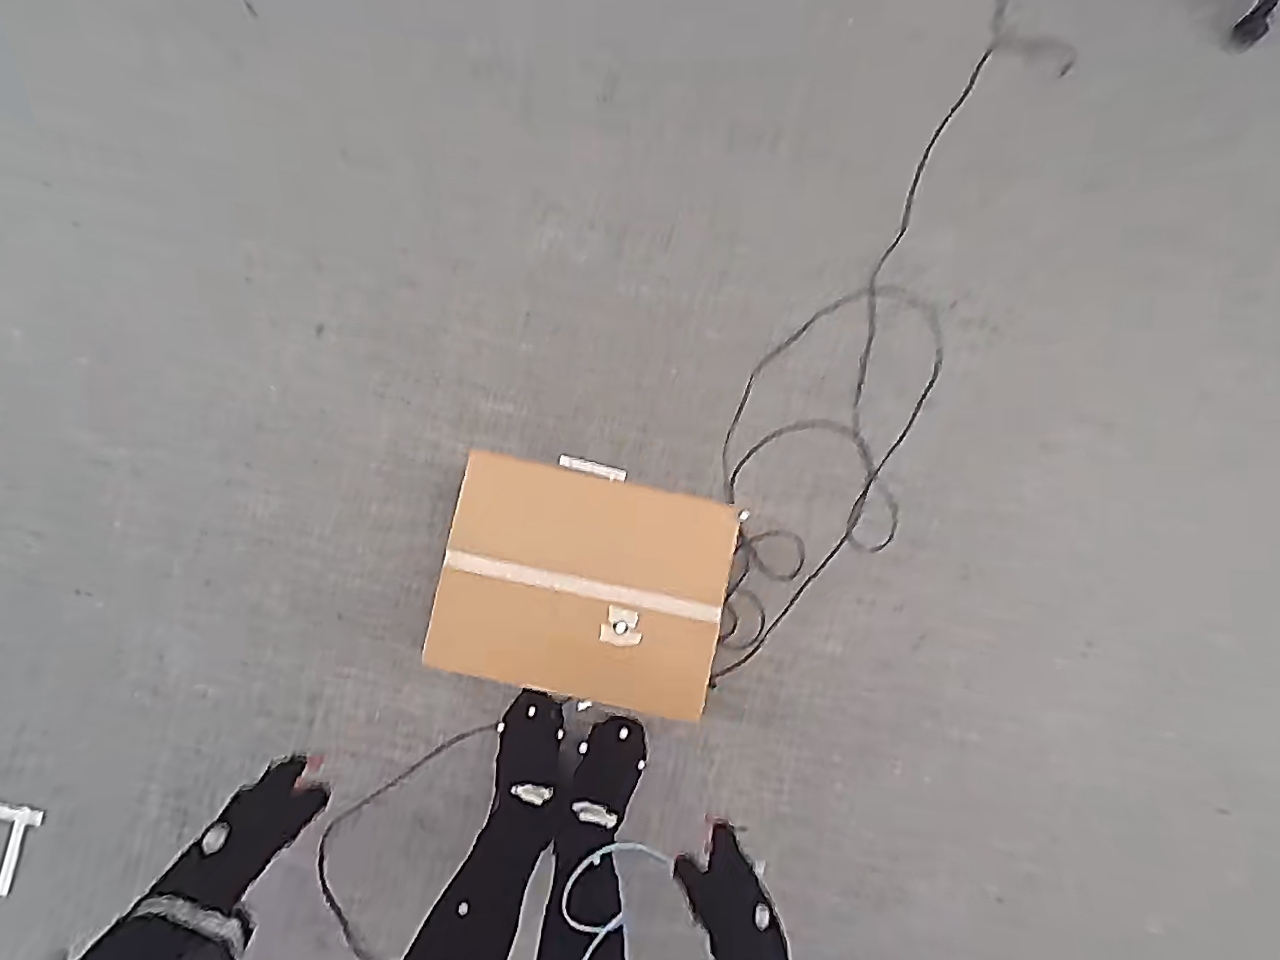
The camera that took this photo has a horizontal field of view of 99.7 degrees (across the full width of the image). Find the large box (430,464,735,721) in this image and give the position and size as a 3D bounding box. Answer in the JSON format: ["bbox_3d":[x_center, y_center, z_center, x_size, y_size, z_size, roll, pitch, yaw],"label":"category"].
[{"bbox_3d":[-0.086,0.176,0.938,0.408,0.320,0.320,12,85,0],"label":"large box"}]
